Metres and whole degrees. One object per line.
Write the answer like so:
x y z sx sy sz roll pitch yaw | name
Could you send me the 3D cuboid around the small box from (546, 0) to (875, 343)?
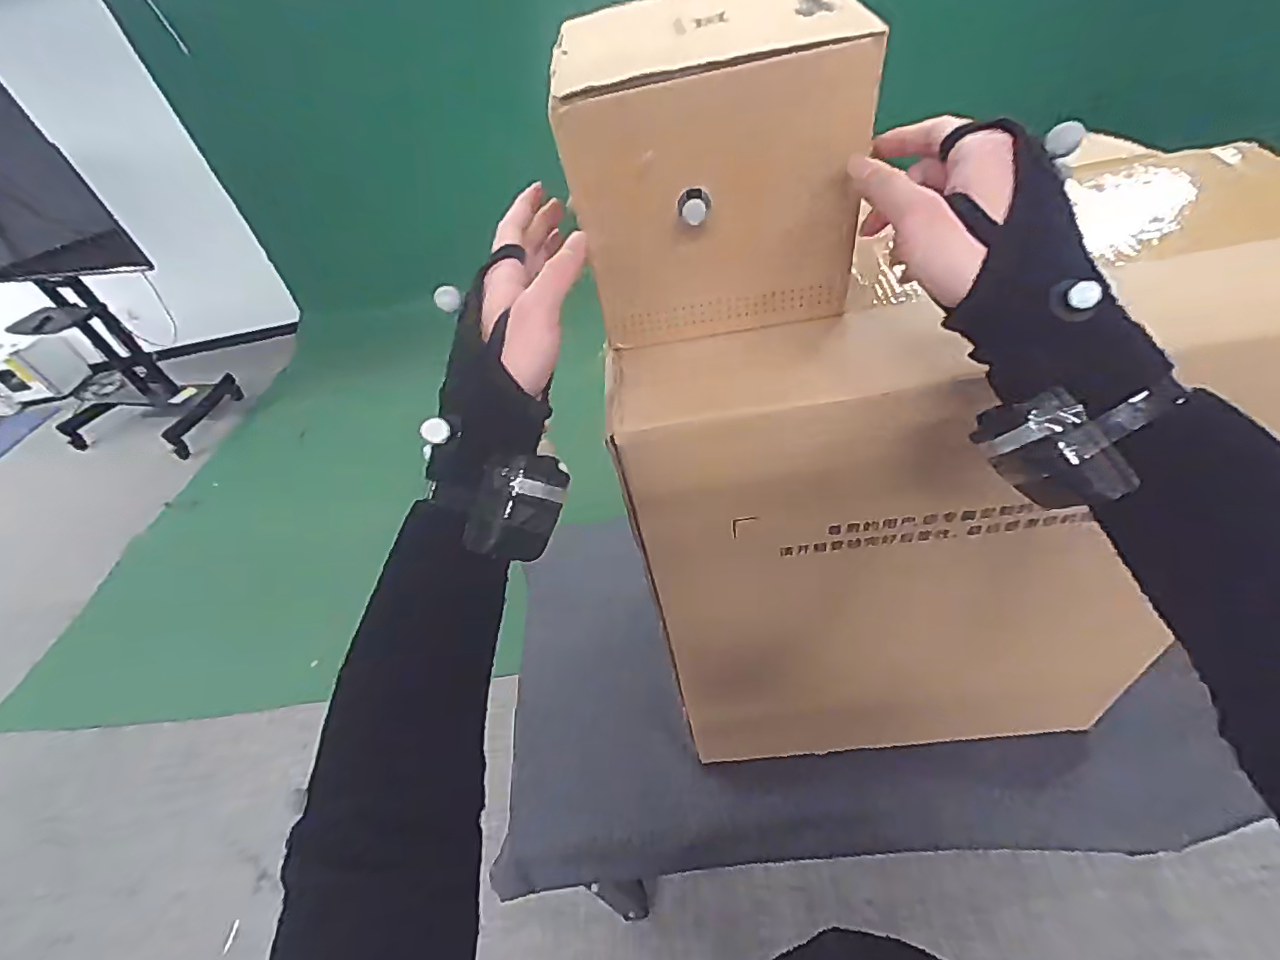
0.047 -0.219 0.390 0.179 0.176 0.168 -8 52 7 | small box
